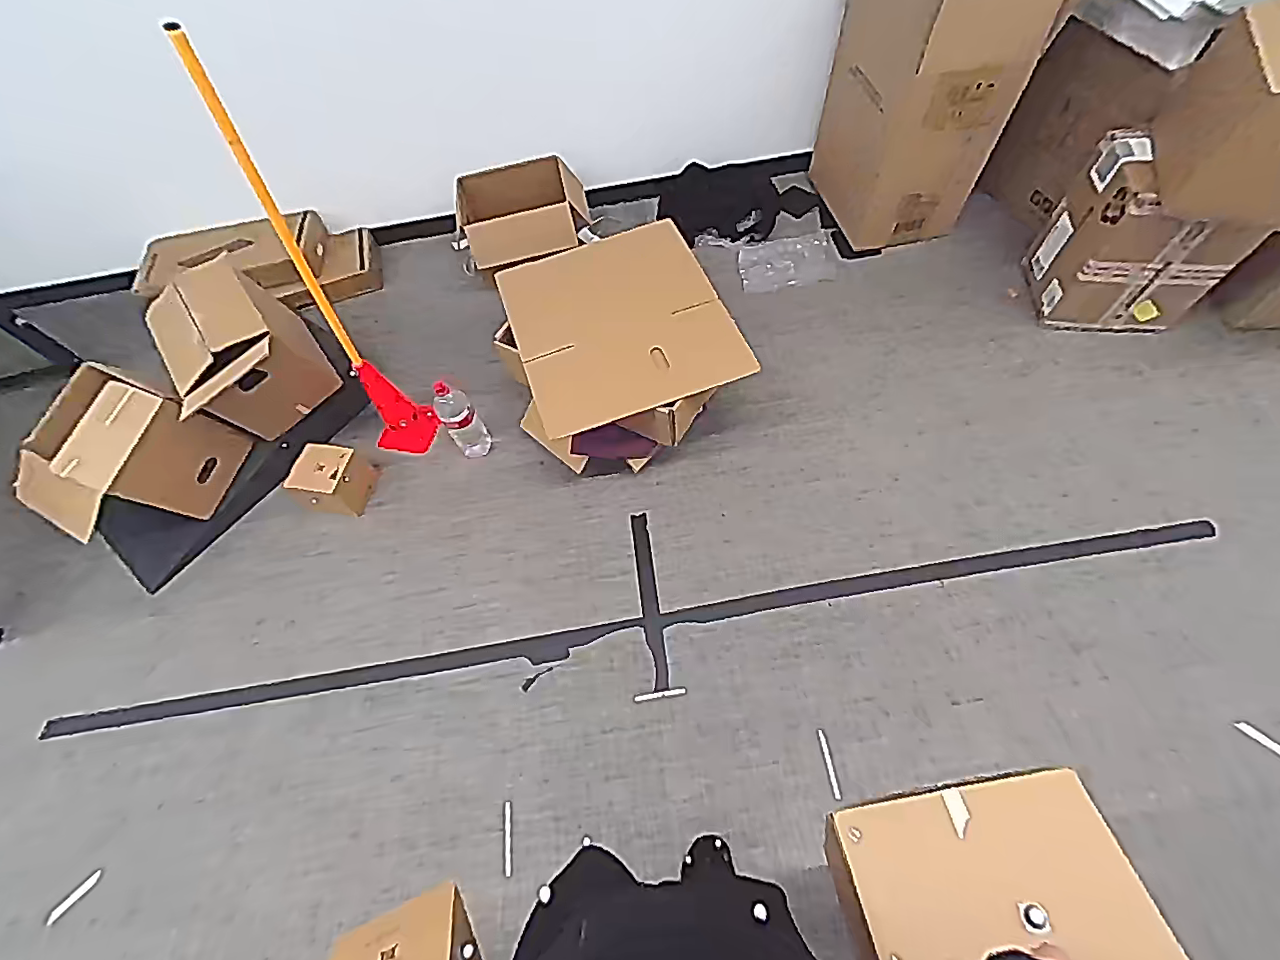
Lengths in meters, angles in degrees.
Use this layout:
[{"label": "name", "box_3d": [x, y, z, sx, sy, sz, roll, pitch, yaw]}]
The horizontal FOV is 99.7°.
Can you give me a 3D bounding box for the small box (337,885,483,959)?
[{"label": "small box", "box_3d": [-0.293, 0.696, 0.699, 0.168, 0.179, 0.176, -18, 94, -16]}]
